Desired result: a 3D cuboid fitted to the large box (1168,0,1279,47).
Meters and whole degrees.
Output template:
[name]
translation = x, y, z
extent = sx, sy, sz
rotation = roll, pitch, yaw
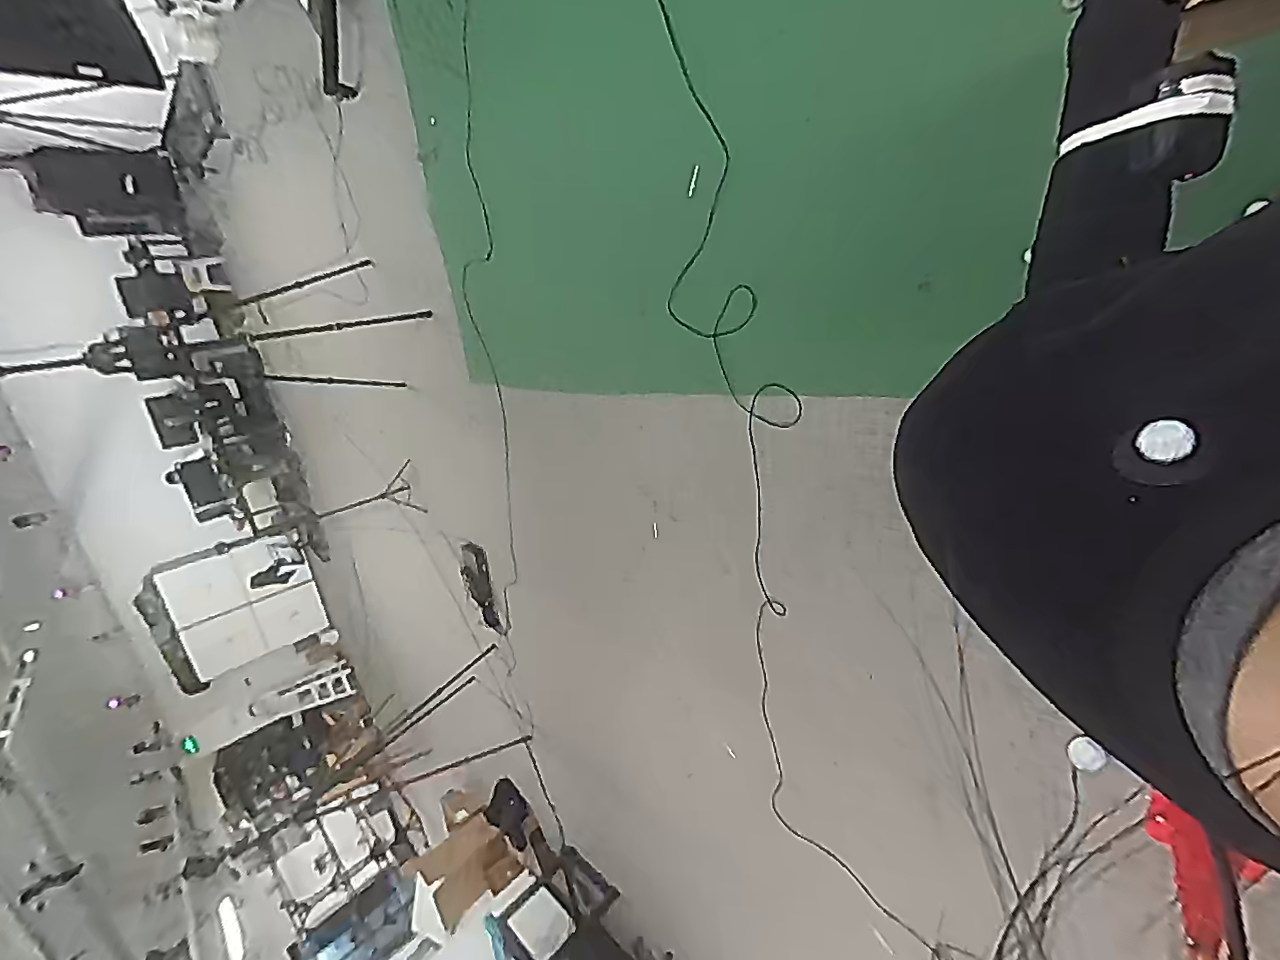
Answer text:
[large box]
translation = 0.569, -0.484, 0.267
extent = 0.408, 0.320, 0.320
rotation = 10, 121, 40
